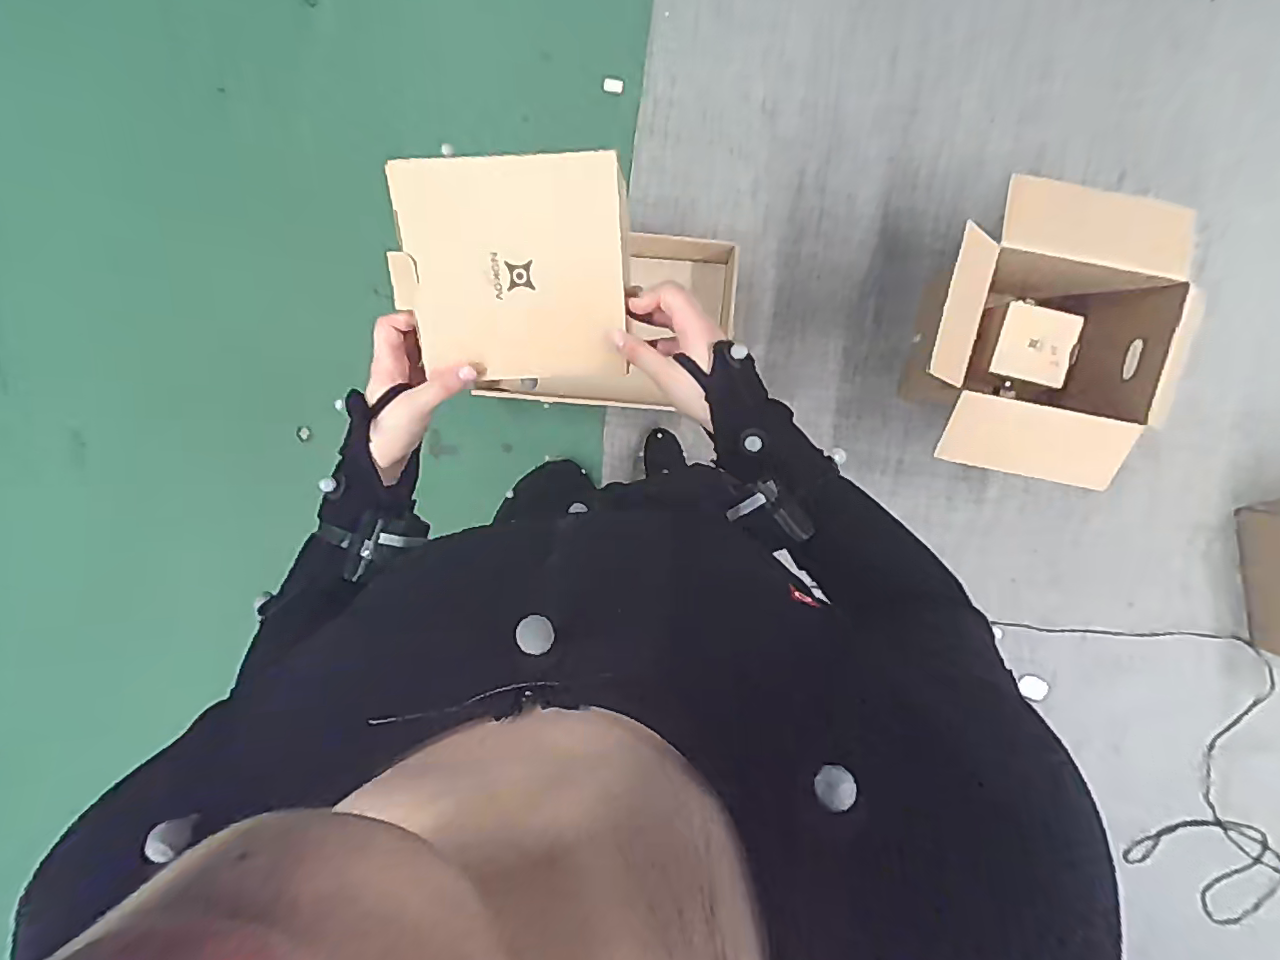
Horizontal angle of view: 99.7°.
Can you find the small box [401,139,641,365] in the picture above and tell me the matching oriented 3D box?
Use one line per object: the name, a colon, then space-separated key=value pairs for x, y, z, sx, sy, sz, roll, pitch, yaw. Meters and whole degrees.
small box: x=-0.090 y=-0.207 z=0.505 sx=0.179 sy=0.176 sz=0.168 roll=-2 pitch=112 yaw=2
